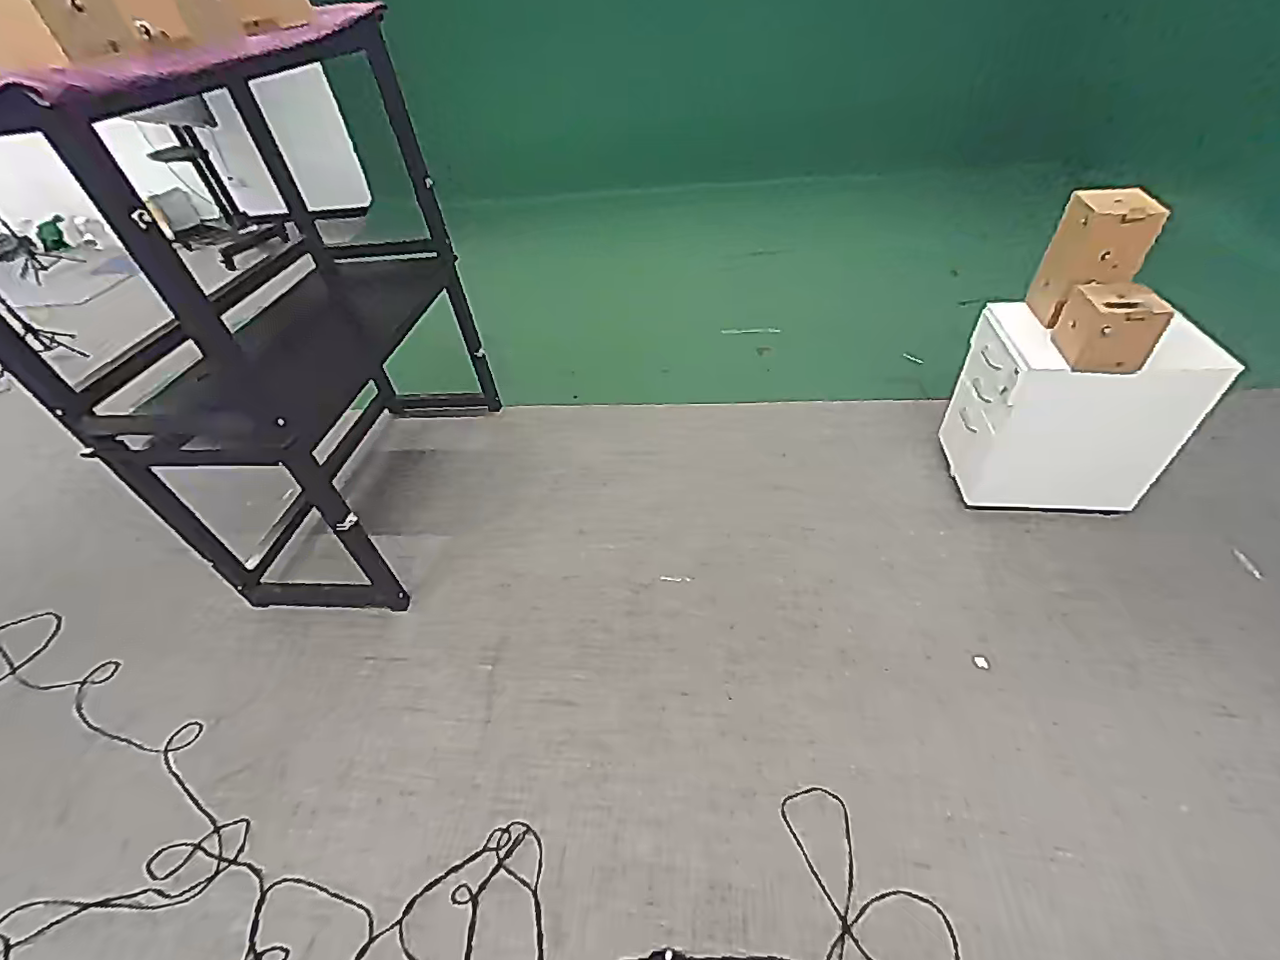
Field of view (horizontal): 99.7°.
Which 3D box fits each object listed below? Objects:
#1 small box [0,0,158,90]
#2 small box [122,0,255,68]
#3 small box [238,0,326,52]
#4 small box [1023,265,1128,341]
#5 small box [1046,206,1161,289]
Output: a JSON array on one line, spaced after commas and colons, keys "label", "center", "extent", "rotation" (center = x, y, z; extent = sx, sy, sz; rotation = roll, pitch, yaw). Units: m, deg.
[{"label": "small box", "center": [-1.011, -0.794, 0.936], "extent": [0.179, 0.176, 0.168], "rotation": [0, 42, 7]}, {"label": "small box", "center": [-0.987, -1.010, 1.173], "extent": [0.168, 0.176, 0.179], "rotation": [-1, 44, 7]}, {"label": "small box", "center": [-0.976, -1.250, 1.426], "extent": [0.168, 0.176, 0.179], "rotation": [0, 43, 10]}, {"label": "small box", "center": [1.312, -0.542, 1.648], "extent": [0.168, 0.176, 0.179], "rotation": [1, 44, 9]}, {"label": "small box", "center": [1.301, -0.661, 1.536], "extent": [0.168, 0.176, 0.179], "rotation": [3, 46, 10]}]
